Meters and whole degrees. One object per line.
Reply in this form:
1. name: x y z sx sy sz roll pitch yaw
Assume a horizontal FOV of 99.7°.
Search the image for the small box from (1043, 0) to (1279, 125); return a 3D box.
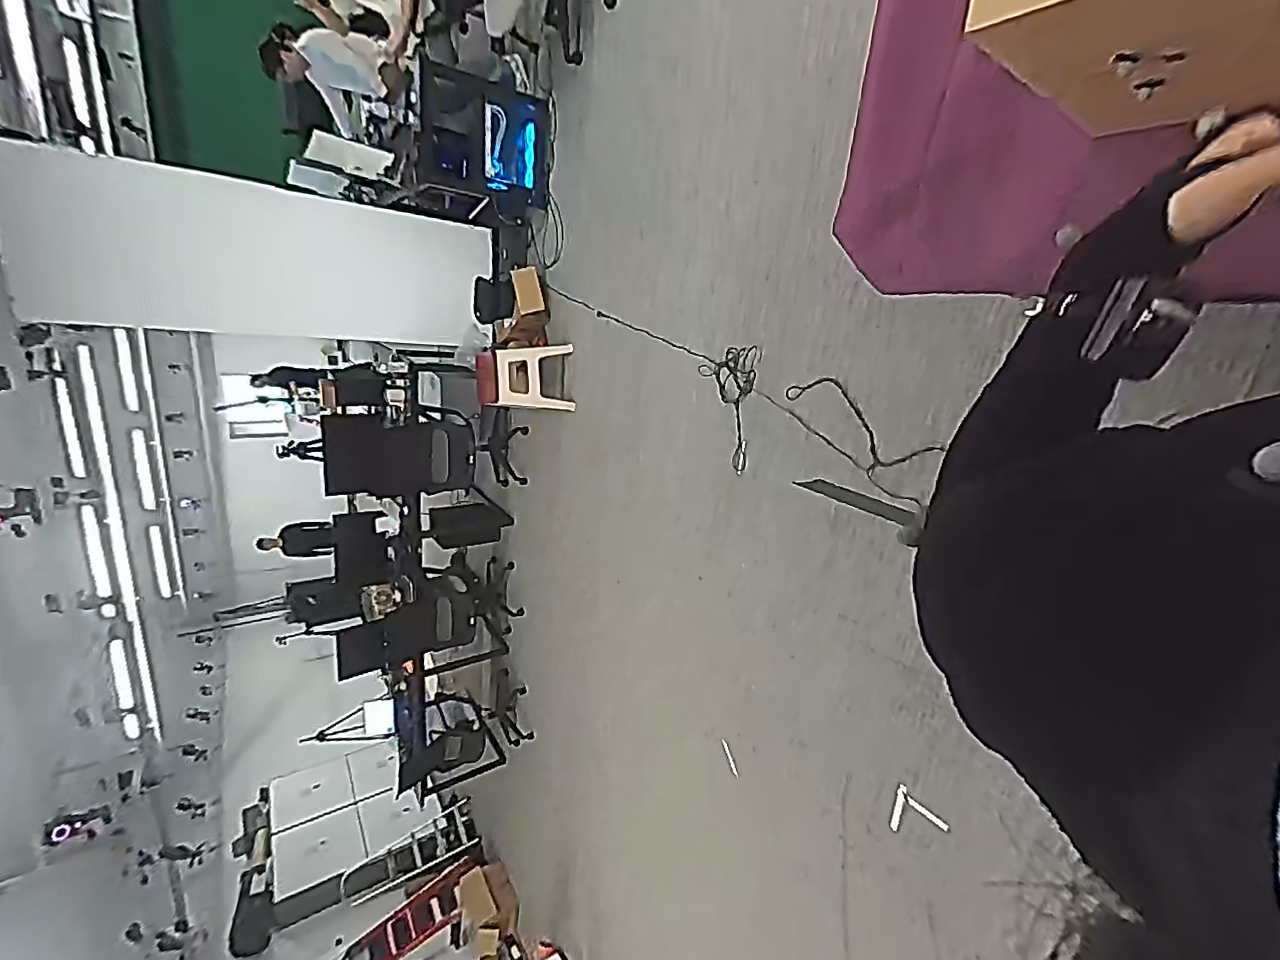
1. small box: 0.517 -0.448 0.487 0.179 0.176 0.168 26 117 50
